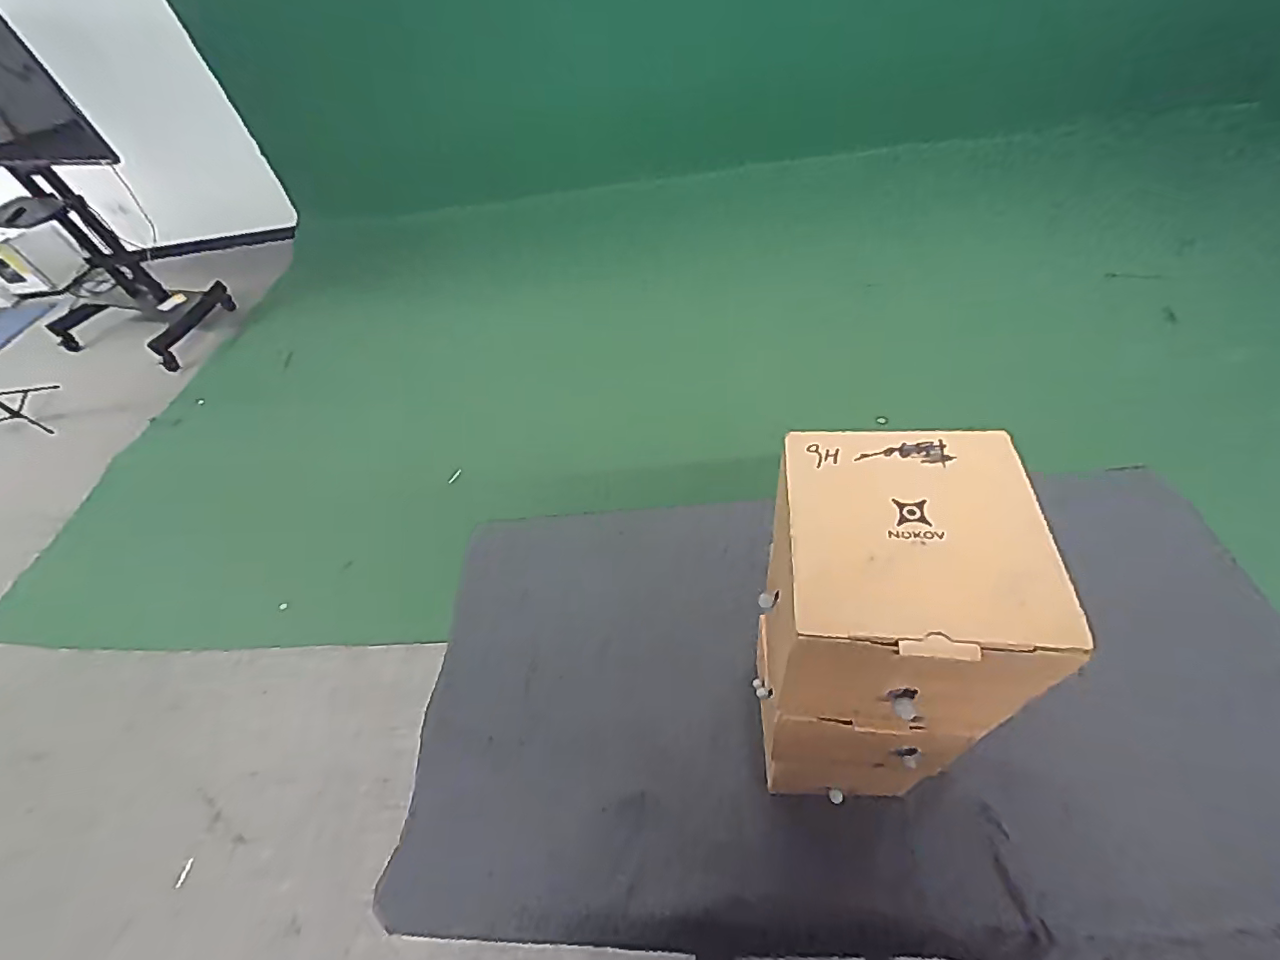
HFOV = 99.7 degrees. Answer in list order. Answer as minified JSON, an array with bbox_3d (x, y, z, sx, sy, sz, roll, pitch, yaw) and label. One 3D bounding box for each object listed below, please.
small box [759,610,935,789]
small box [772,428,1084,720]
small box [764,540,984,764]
[{"bbox_3d":[0.242,0.276,0.685,0.168,0.176,0.179,-3,52,9],"label":"small box"},{"bbox_3d":[0.196,0.078,0.431,0.168,0.176,0.179,1,53,11],"label":"small box"},{"bbox_3d":[0.217,0.179,0.558,0.168,0.176,0.179,0,51,10],"label":"small box"}]
